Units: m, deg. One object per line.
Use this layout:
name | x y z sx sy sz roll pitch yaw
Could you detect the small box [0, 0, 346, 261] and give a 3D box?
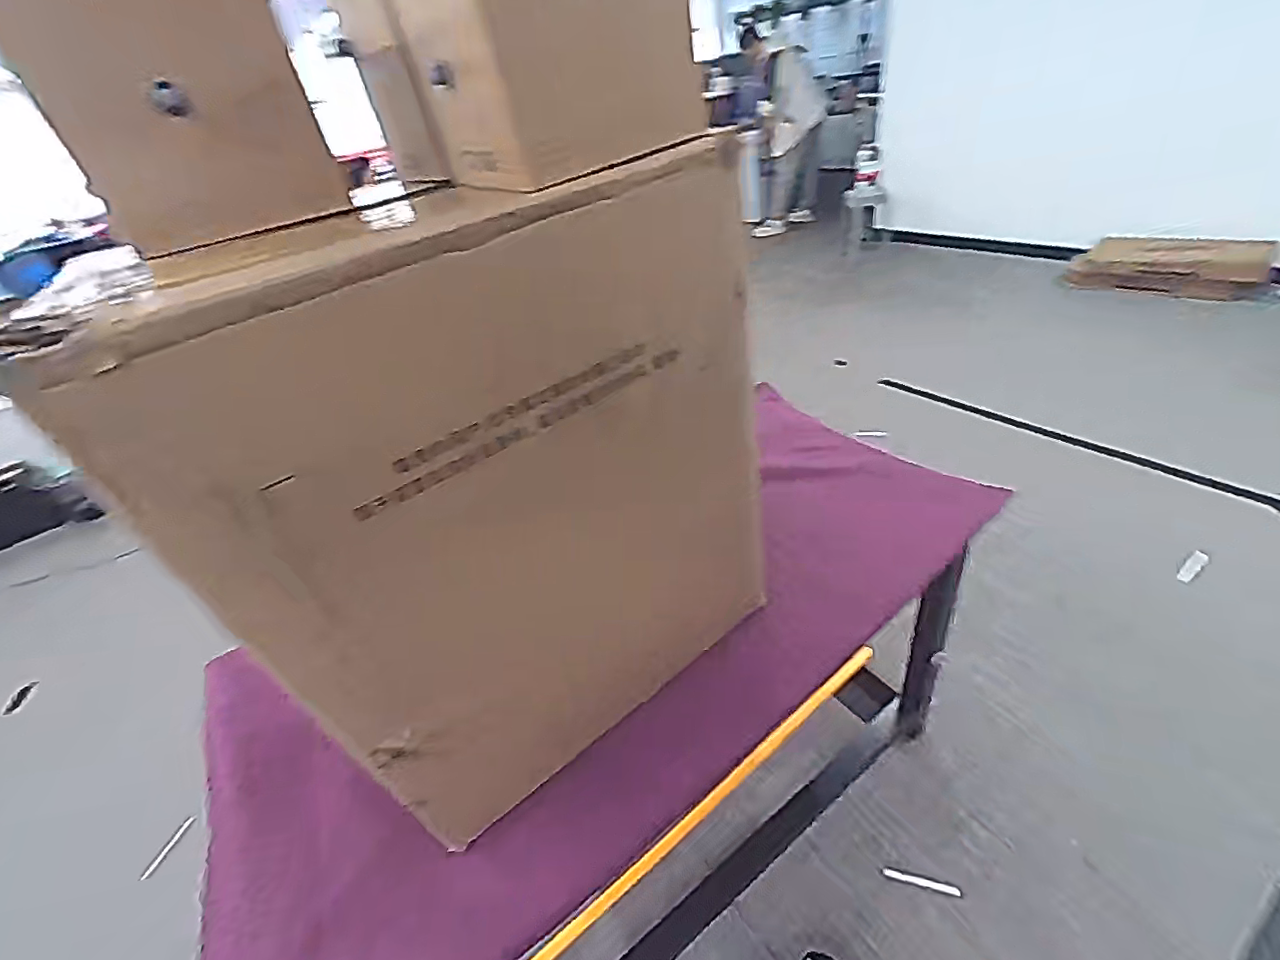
small box | -0.370 -0.301 0.449 0.179 0.176 0.168 -29 38 -19
